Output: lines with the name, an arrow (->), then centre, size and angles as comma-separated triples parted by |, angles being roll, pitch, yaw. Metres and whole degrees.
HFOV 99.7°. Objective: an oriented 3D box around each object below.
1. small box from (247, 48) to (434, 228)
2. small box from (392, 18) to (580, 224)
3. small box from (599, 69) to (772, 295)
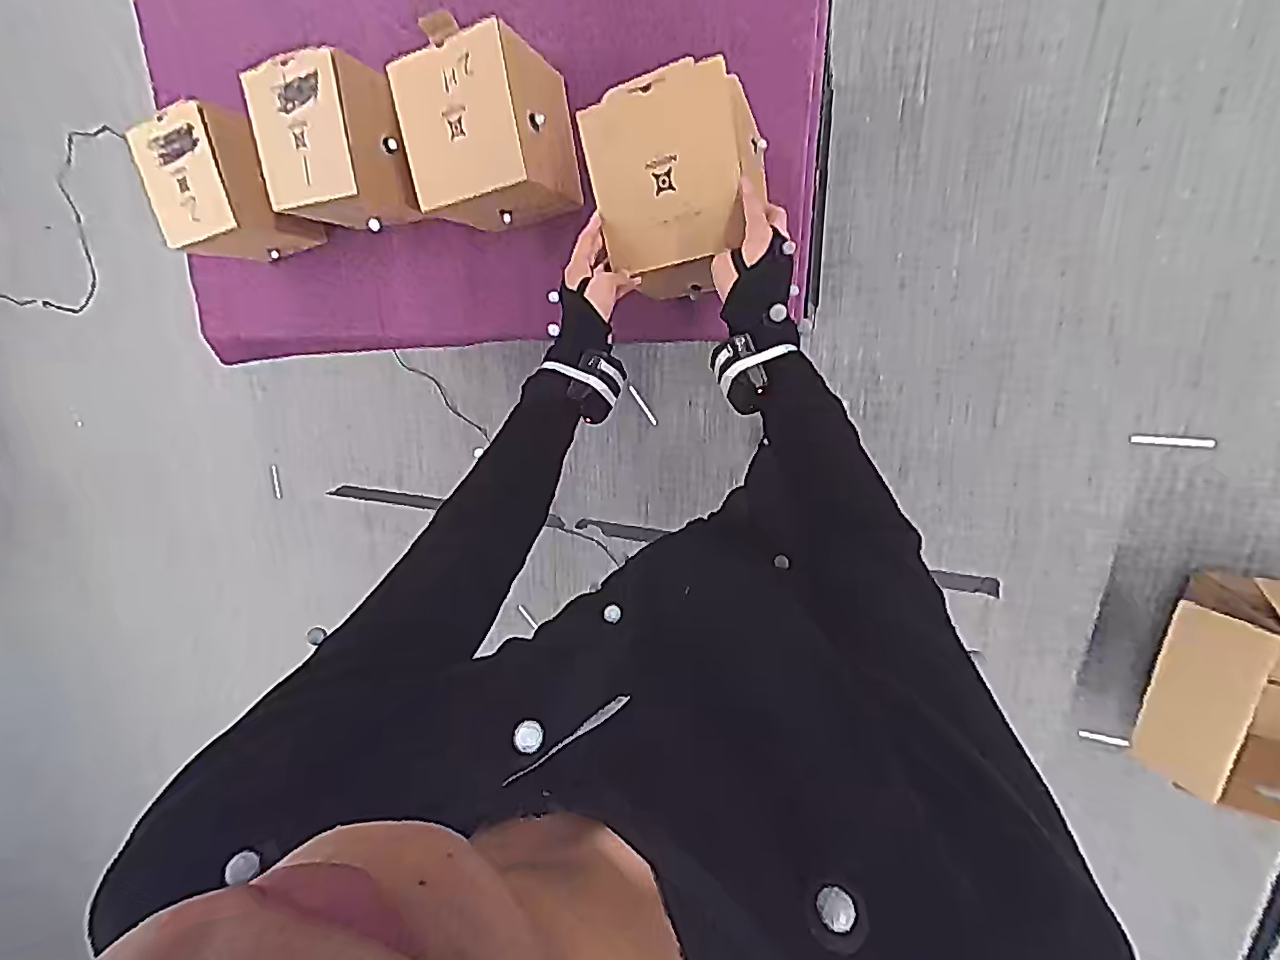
small box -> -0.436, -0.497, 0.815 | 0.168, 0.176, 0.179 | 1, 106, 19
small box -> -0.196, -0.463, 0.738 | 0.168, 0.176, 0.179 | -4, 103, 20
small box -> 0.065, -0.345, 0.667 | 0.168, 0.176, 0.179 | -4, 96, 22
